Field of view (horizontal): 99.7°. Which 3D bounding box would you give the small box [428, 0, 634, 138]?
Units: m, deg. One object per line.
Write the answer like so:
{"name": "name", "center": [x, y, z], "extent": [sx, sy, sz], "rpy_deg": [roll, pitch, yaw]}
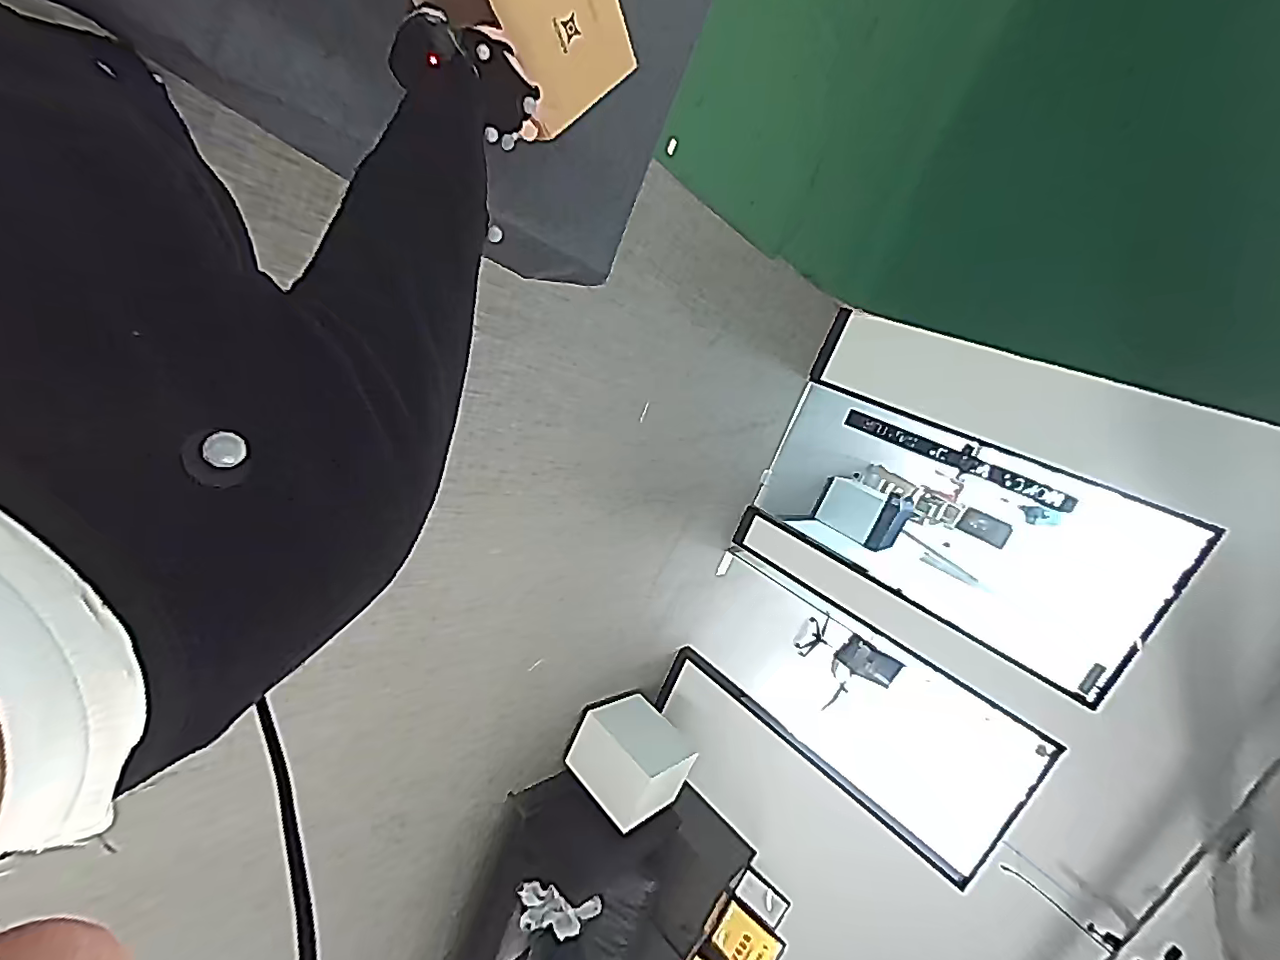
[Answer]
{"name": "small box", "center": [-0.143, -0.577, 0.697], "extent": [0.179, 0.176, 0.168], "rpy_deg": [-49, 145, -13]}
